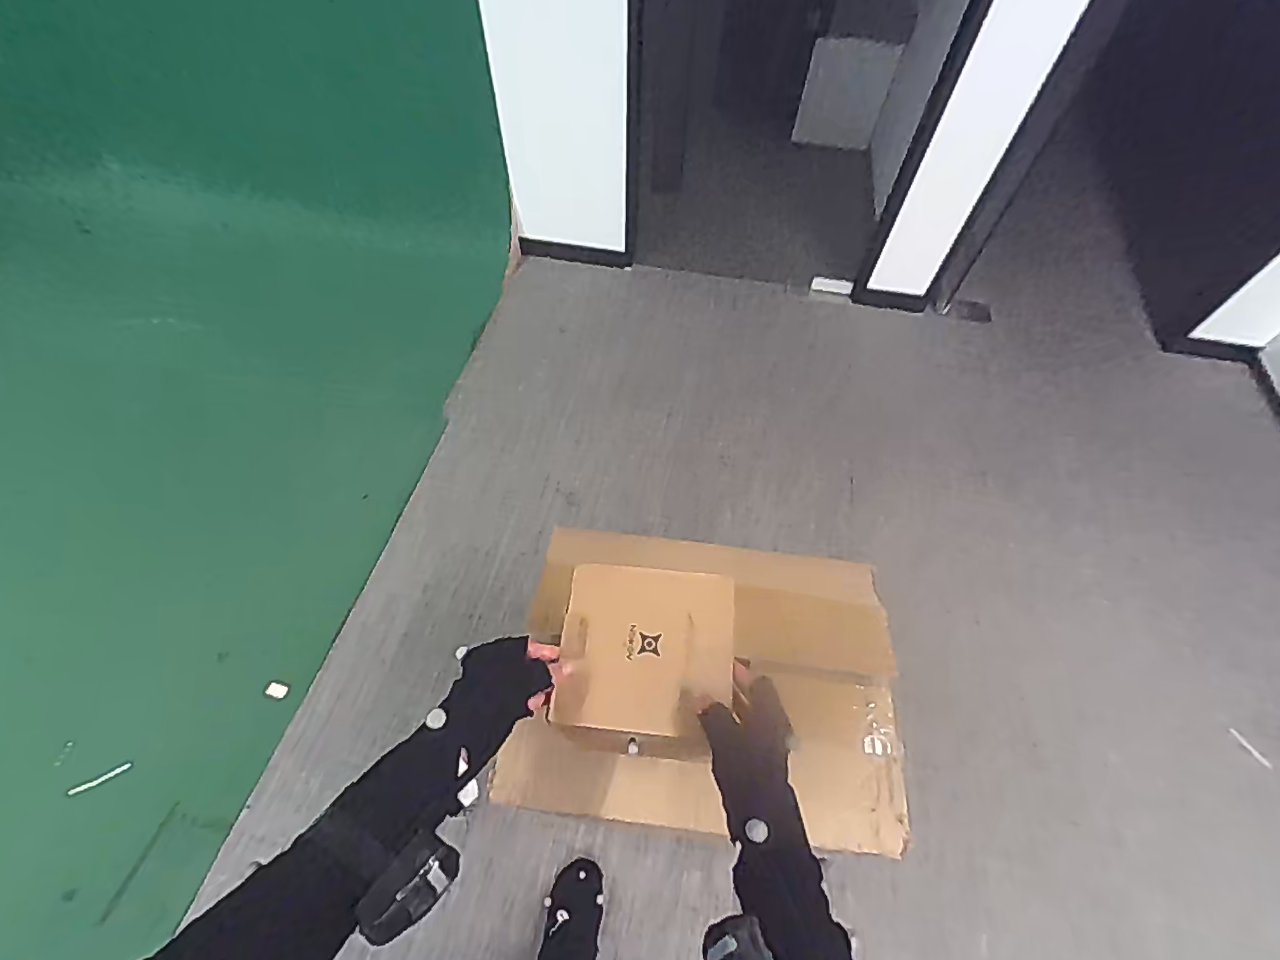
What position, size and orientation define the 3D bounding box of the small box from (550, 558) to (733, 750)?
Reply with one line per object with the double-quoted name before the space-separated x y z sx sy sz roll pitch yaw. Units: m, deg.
"small box" 0.008 0.204 0.618 0.179 0.176 0.168 4 58 2
